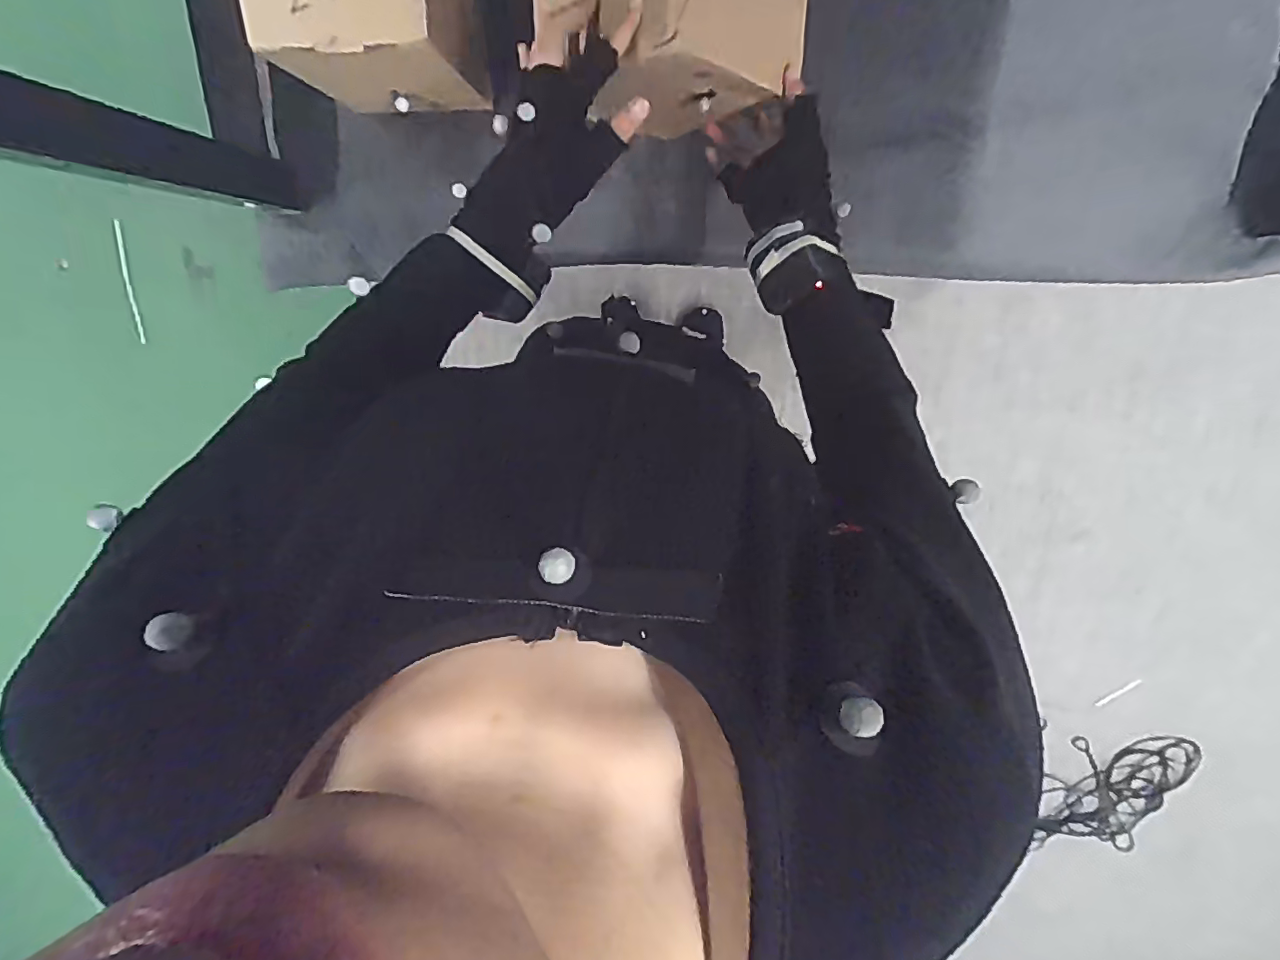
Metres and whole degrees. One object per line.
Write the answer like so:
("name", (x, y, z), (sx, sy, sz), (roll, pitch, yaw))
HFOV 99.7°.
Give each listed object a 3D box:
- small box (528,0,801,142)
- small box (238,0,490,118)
("small box", (0.023, -0.411, 0.446), (0.176, 0.168, 0.179), (15, 112, 43))
("small box", (-0.253, -0.477, 0.517), (0.168, 0.176, 0.179), (2, 107, 4))
